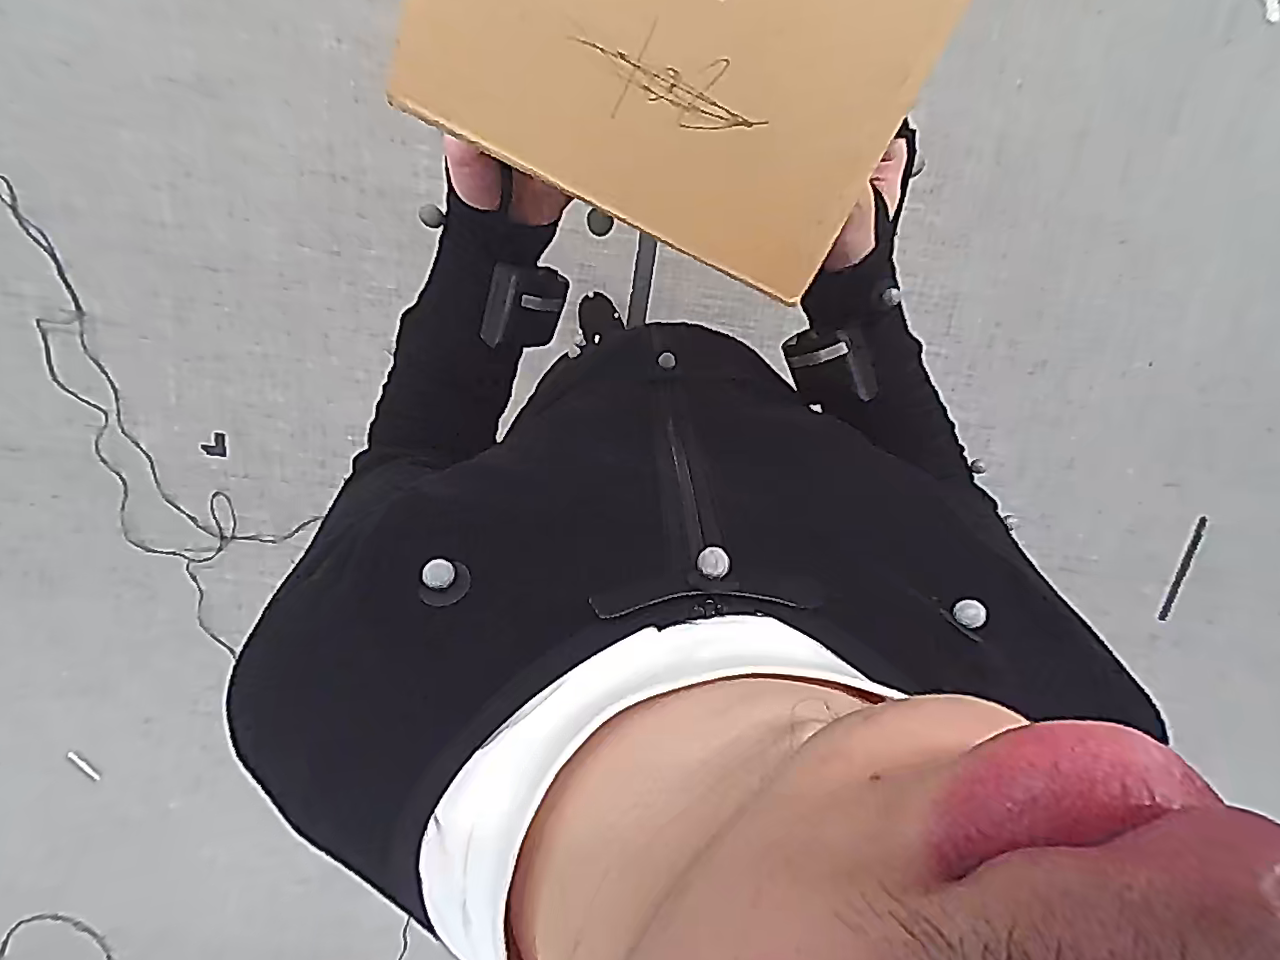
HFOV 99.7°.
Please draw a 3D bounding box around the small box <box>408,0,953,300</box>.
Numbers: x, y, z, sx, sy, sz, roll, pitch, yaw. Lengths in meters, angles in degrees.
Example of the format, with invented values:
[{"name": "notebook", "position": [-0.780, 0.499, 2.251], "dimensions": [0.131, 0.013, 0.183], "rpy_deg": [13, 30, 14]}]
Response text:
[{"name": "small box", "position": [0.026, -0.210, 0.247], "dimensions": [0.168, 0.176, 0.179], "rpy_deg": [23, 116, -7]}]
